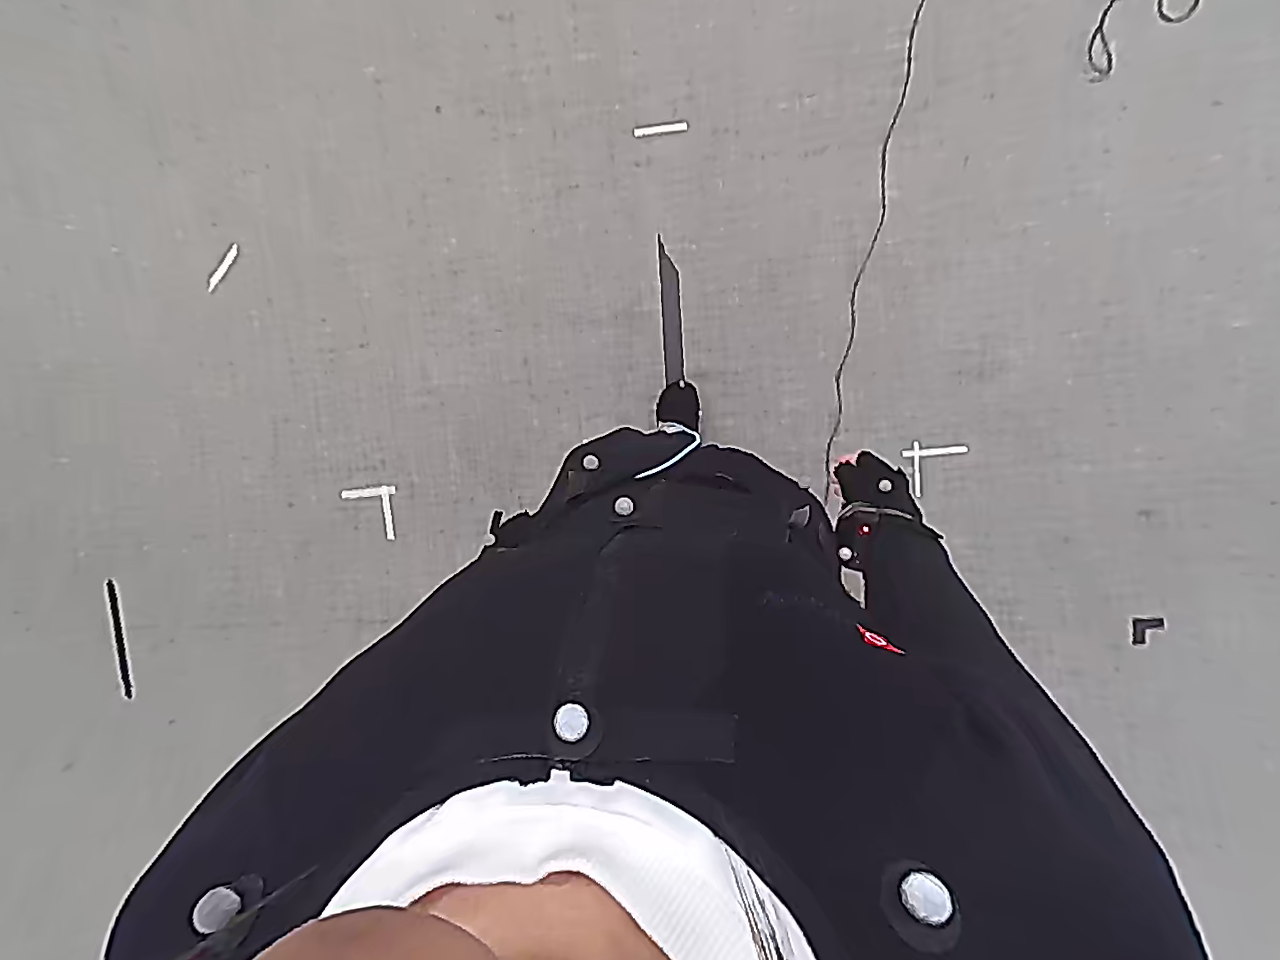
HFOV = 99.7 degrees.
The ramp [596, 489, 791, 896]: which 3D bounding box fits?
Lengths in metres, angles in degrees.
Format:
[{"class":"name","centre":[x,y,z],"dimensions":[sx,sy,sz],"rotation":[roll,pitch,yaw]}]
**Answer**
[{"class":"ramp","centre":[0.127,0.523,1.405],"dimensions":[0.509,0.206,0.991],"rotation":[-2,94,9]}]
